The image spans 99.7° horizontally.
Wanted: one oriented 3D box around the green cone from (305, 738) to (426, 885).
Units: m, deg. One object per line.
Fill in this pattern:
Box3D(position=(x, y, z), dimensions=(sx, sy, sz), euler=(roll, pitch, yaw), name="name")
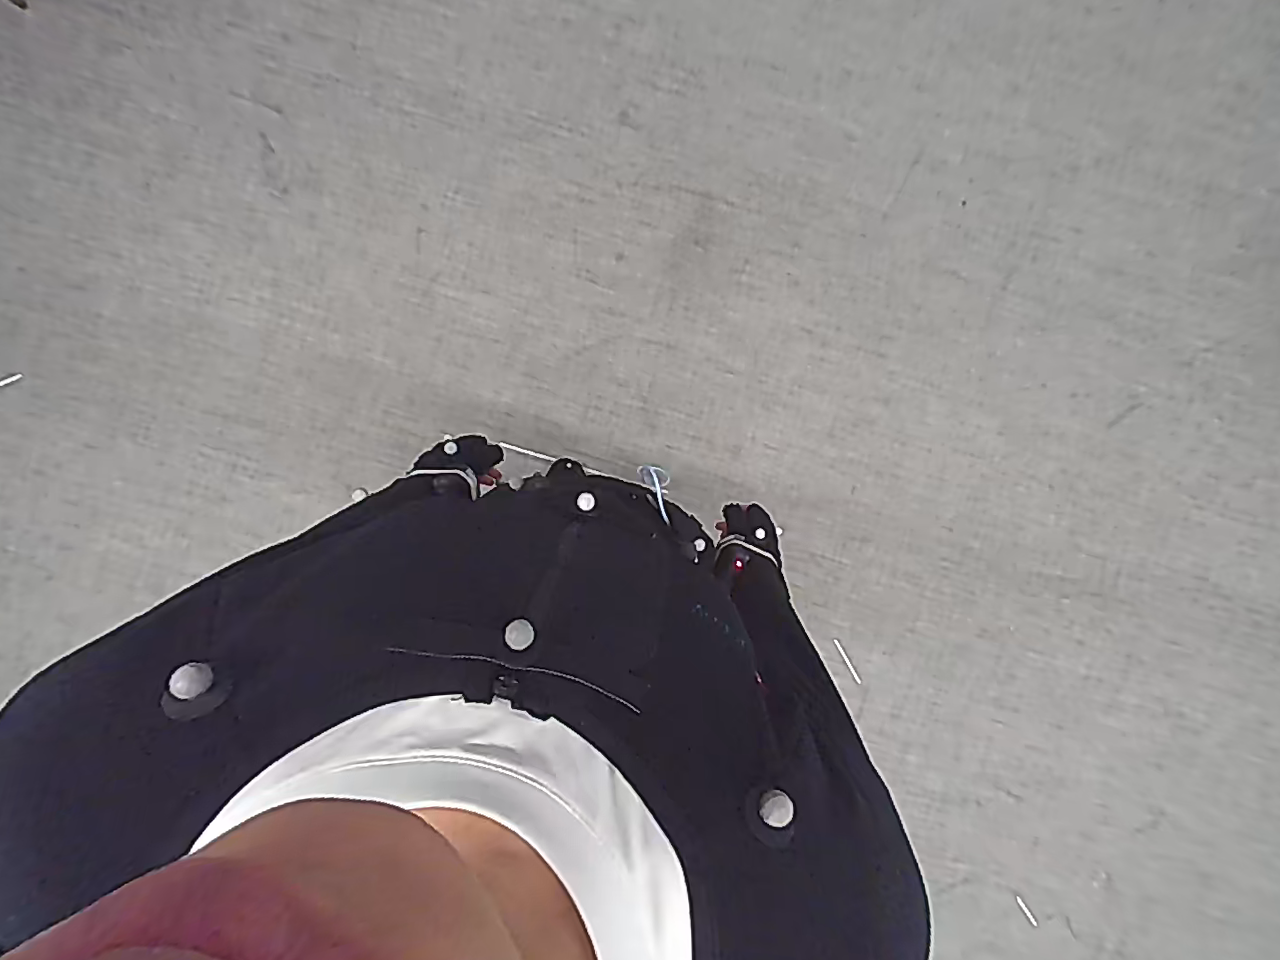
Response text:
Box3D(position=(-0.699, 0.829, 1.314), dimensions=(0.202, 0.368, 0.200), euler=(15, 91, -3), name="green cone")
